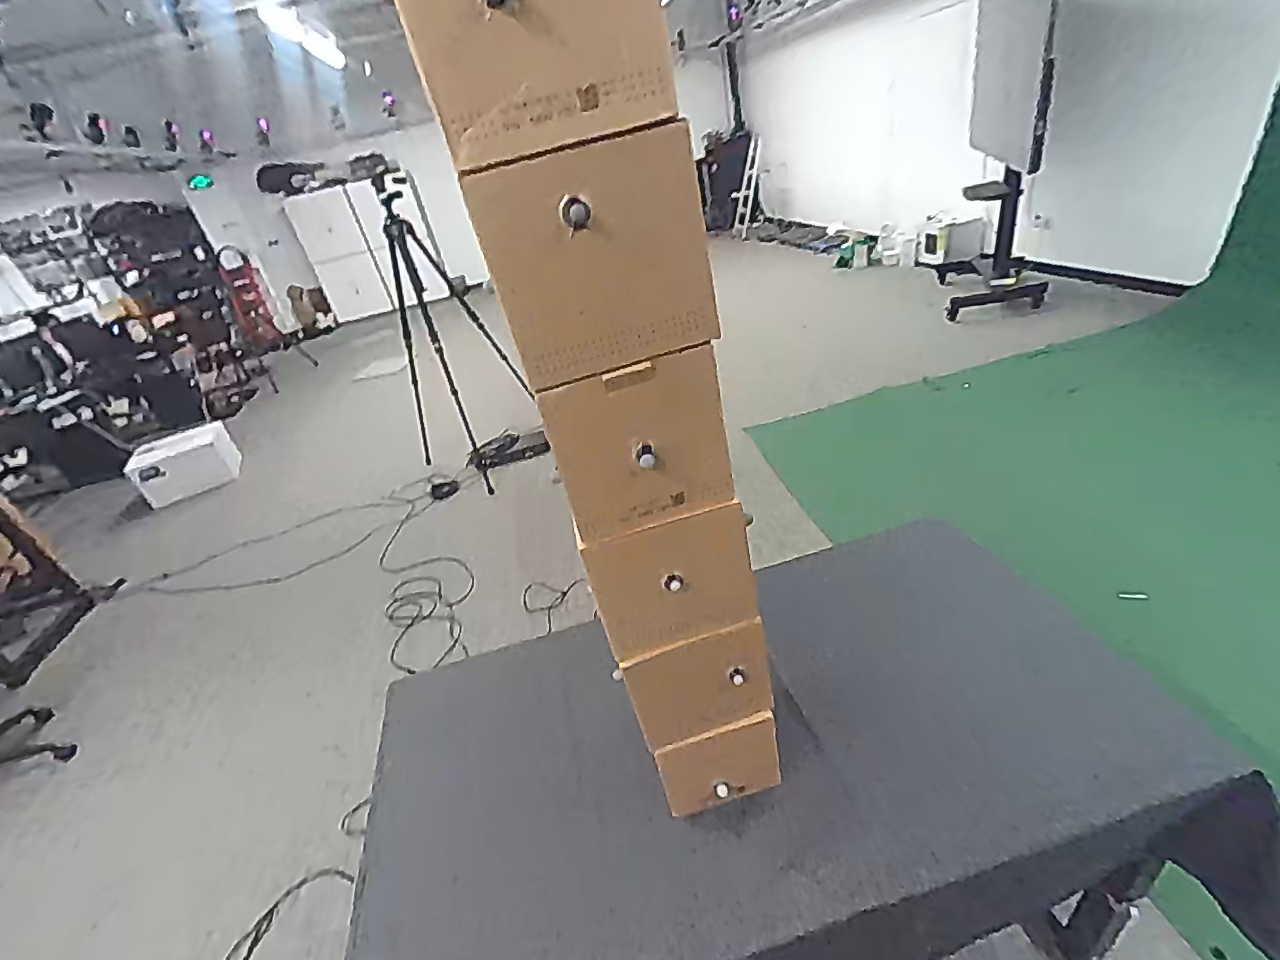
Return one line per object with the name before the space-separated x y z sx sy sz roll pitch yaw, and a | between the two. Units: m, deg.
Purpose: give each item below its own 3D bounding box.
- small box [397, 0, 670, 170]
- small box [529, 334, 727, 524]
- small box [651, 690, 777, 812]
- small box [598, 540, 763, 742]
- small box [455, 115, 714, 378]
small box | -0.084 -0.346 0.421 0.168 0.176 0.179 -16 28 -3
small box | -0.016 -0.069 0.584 0.168 0.176 0.179 -17 30 -5
small box | 0.094 0.351 0.810 0.168 0.176 0.179 -16 31 -3
small box | 0.056 0.214 0.730 0.179 0.176 0.168 -17 30 -5
small box | -0.047 -0.208 0.500 0.179 0.176 0.168 -17 30 -4
